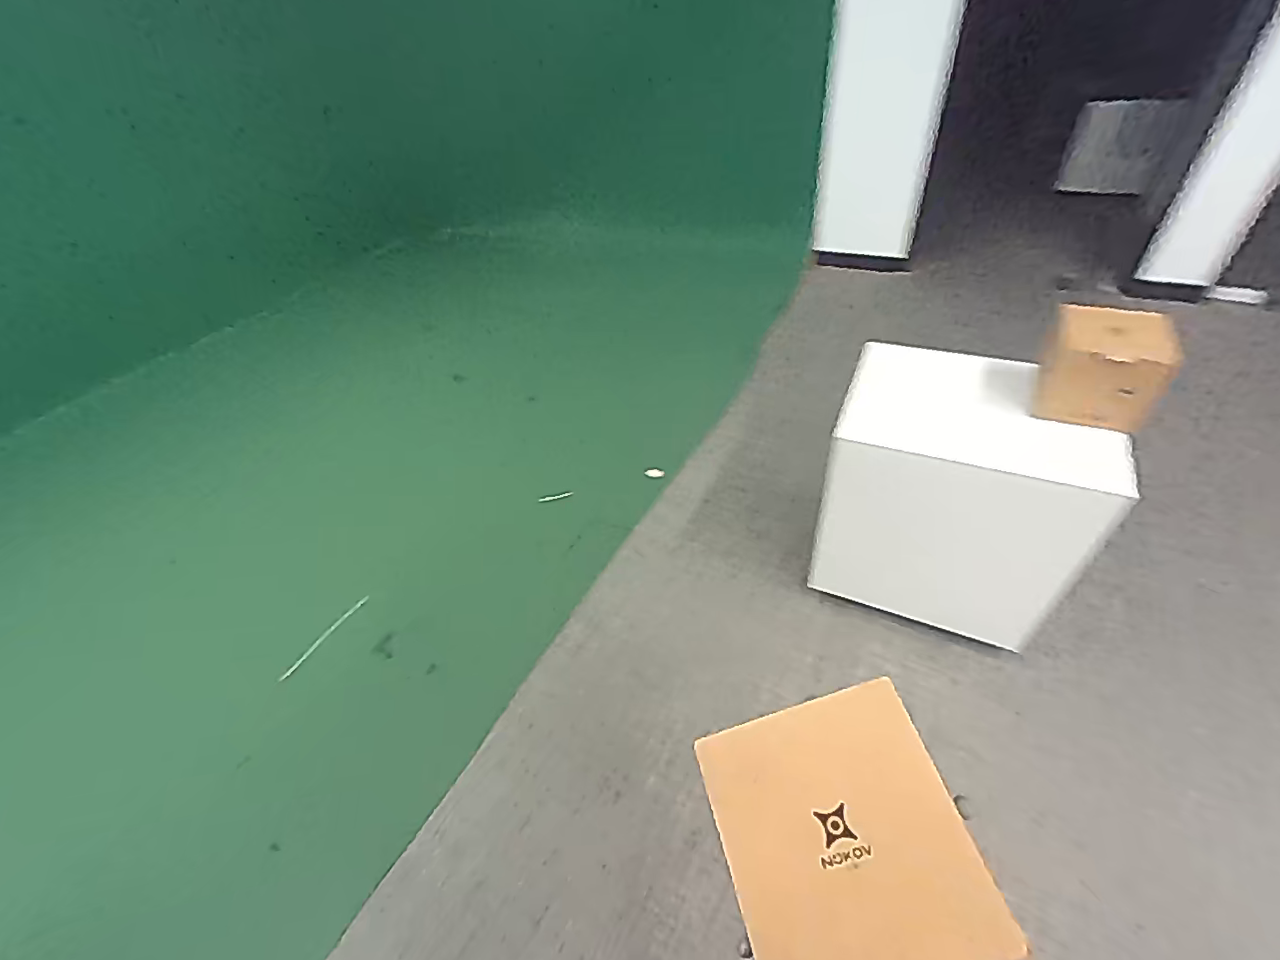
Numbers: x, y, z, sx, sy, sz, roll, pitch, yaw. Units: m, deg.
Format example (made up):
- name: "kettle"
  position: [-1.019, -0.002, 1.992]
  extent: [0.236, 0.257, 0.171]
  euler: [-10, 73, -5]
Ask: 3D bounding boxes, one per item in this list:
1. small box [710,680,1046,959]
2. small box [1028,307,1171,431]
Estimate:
- name: "small box"
  position: [0.172, 0.291, 0.443]
  extent: [0.168, 0.176, 0.179]
  euler: [-22, 55, 7]
- name: "small box"
  position: [0.900, -0.220, 1.076]
  extent: [0.168, 0.176, 0.179]
  euler: [15, 49, 23]
